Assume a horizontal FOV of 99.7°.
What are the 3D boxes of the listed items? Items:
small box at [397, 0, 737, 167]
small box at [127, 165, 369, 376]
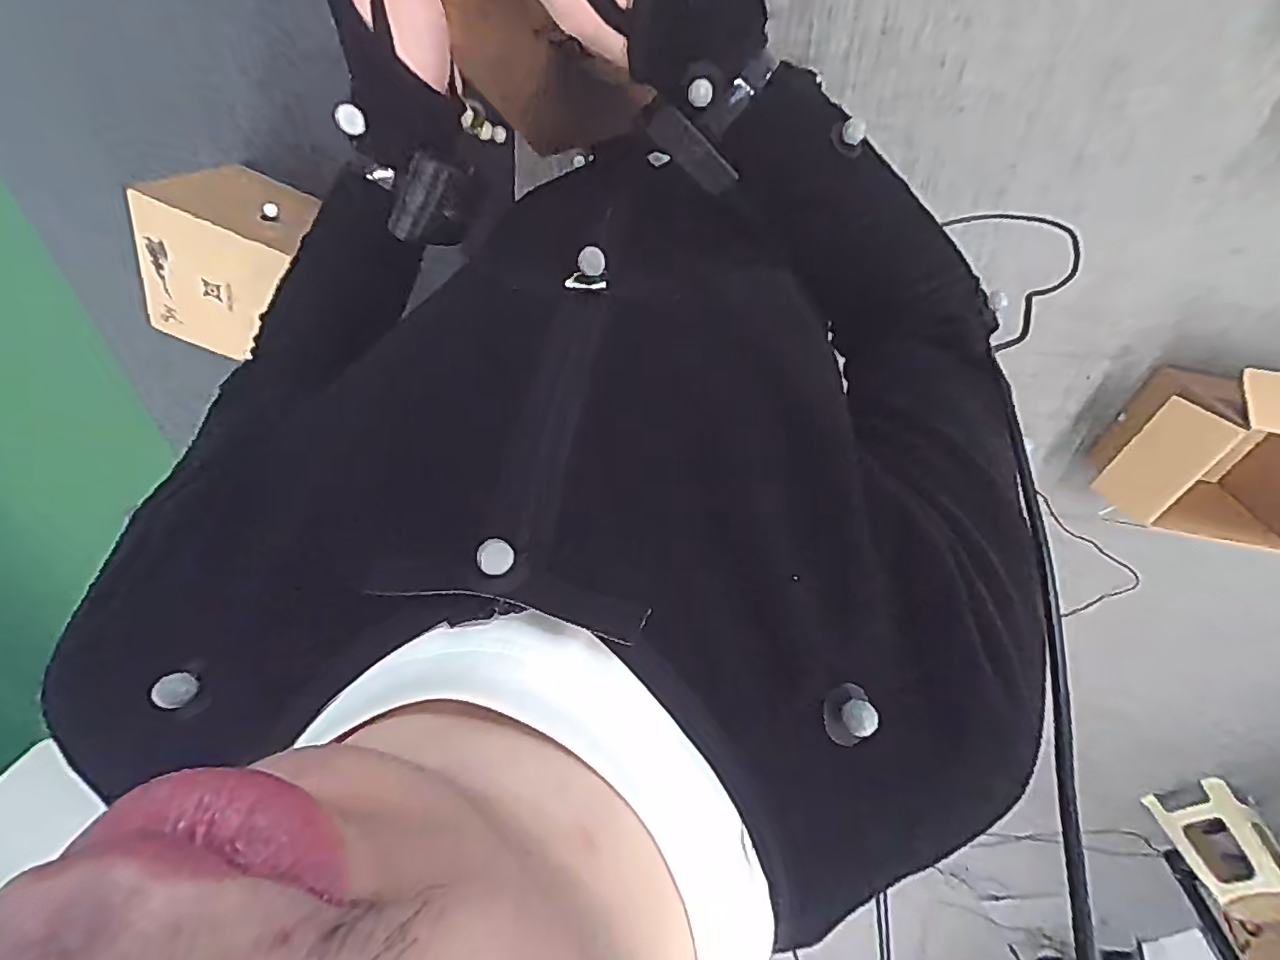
[{"bbox_3d":[-0.037,-0.358,0.360,0.168,0.179,0.176,0,84,26],"label":"small box"},{"bbox_3d":[-0.464,-0.264,0.672,0.179,0.176,0.168,22,127,-10],"label":"small box"}]
